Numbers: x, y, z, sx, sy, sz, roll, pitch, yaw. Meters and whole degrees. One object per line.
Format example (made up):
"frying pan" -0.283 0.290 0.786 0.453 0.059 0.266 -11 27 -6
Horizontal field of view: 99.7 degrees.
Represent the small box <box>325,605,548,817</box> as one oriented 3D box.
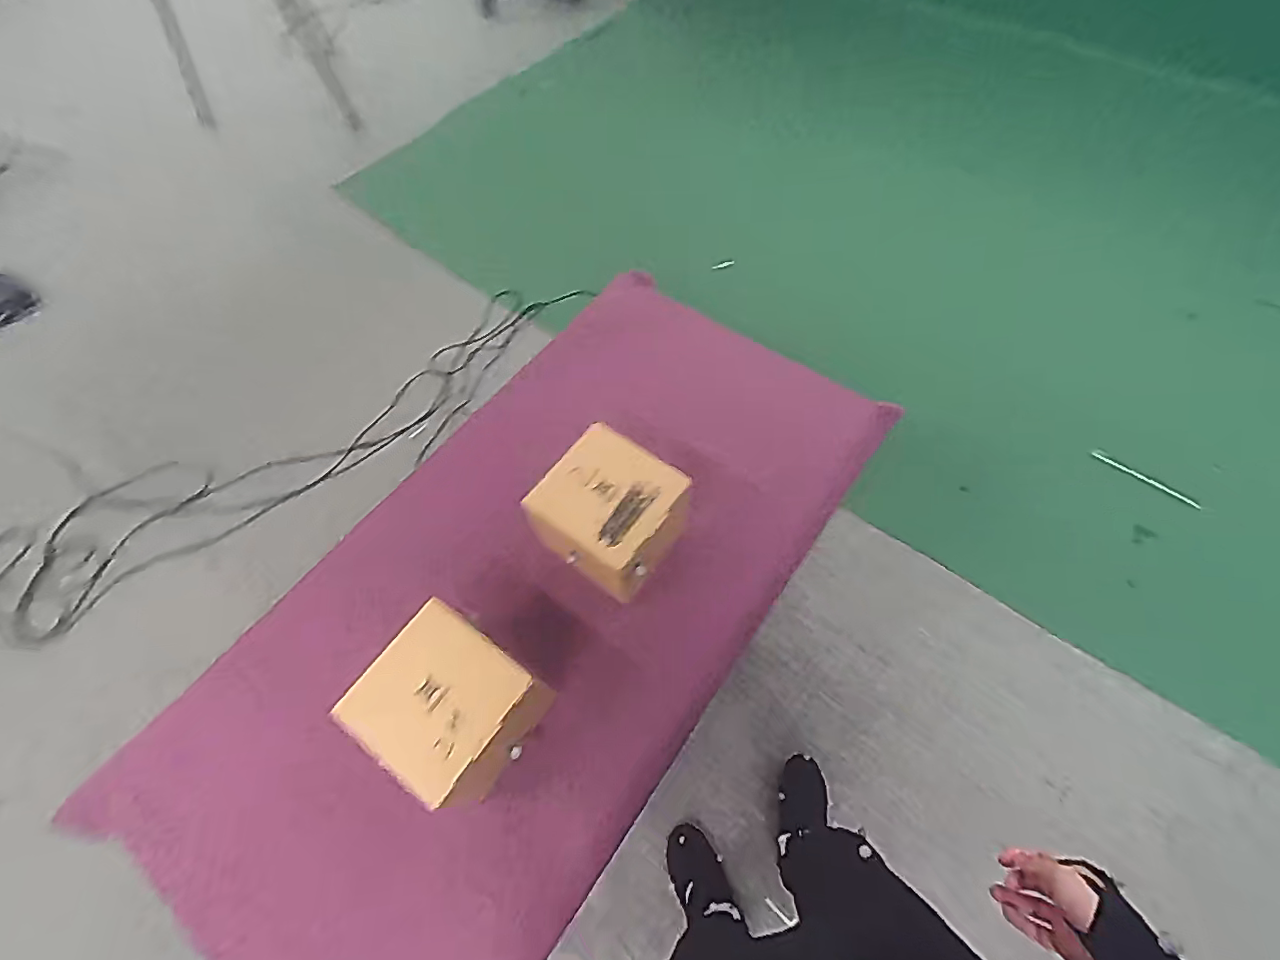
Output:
"small box" -0.243 0.294 0.689 0.179 0.176 0.168 32 67 17
